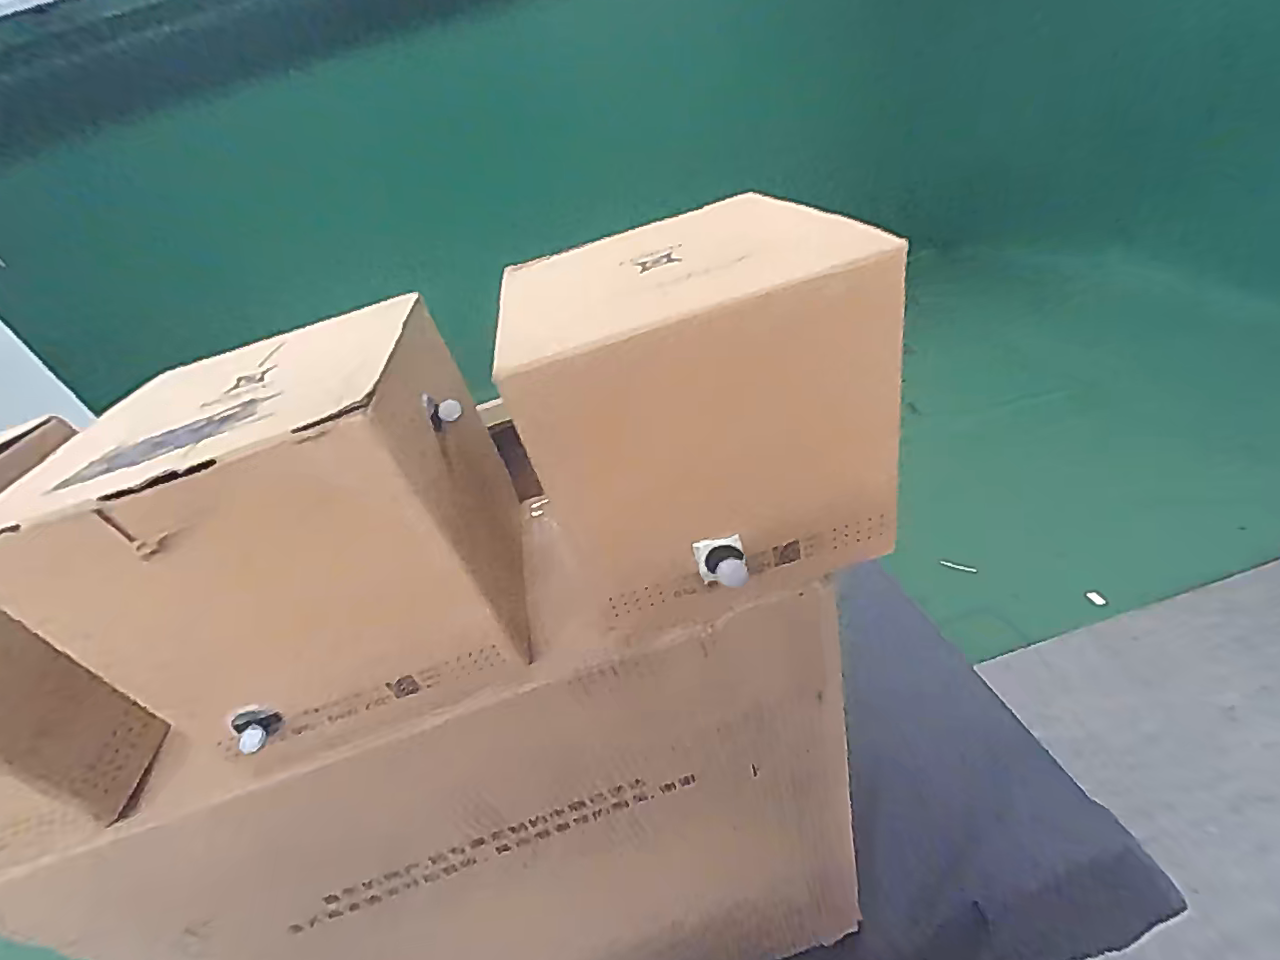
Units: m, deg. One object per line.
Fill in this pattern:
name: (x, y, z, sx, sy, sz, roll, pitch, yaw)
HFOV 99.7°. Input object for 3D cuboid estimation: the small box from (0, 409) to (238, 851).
small box: (-0.385, 0.090, 0.310, 0.168, 0.176, 0.179, -20, 35, 2)

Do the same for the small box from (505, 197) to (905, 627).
small box: (0.029, -0.047, 0.324, 0.168, 0.176, 0.179, -18, 37, -1)
